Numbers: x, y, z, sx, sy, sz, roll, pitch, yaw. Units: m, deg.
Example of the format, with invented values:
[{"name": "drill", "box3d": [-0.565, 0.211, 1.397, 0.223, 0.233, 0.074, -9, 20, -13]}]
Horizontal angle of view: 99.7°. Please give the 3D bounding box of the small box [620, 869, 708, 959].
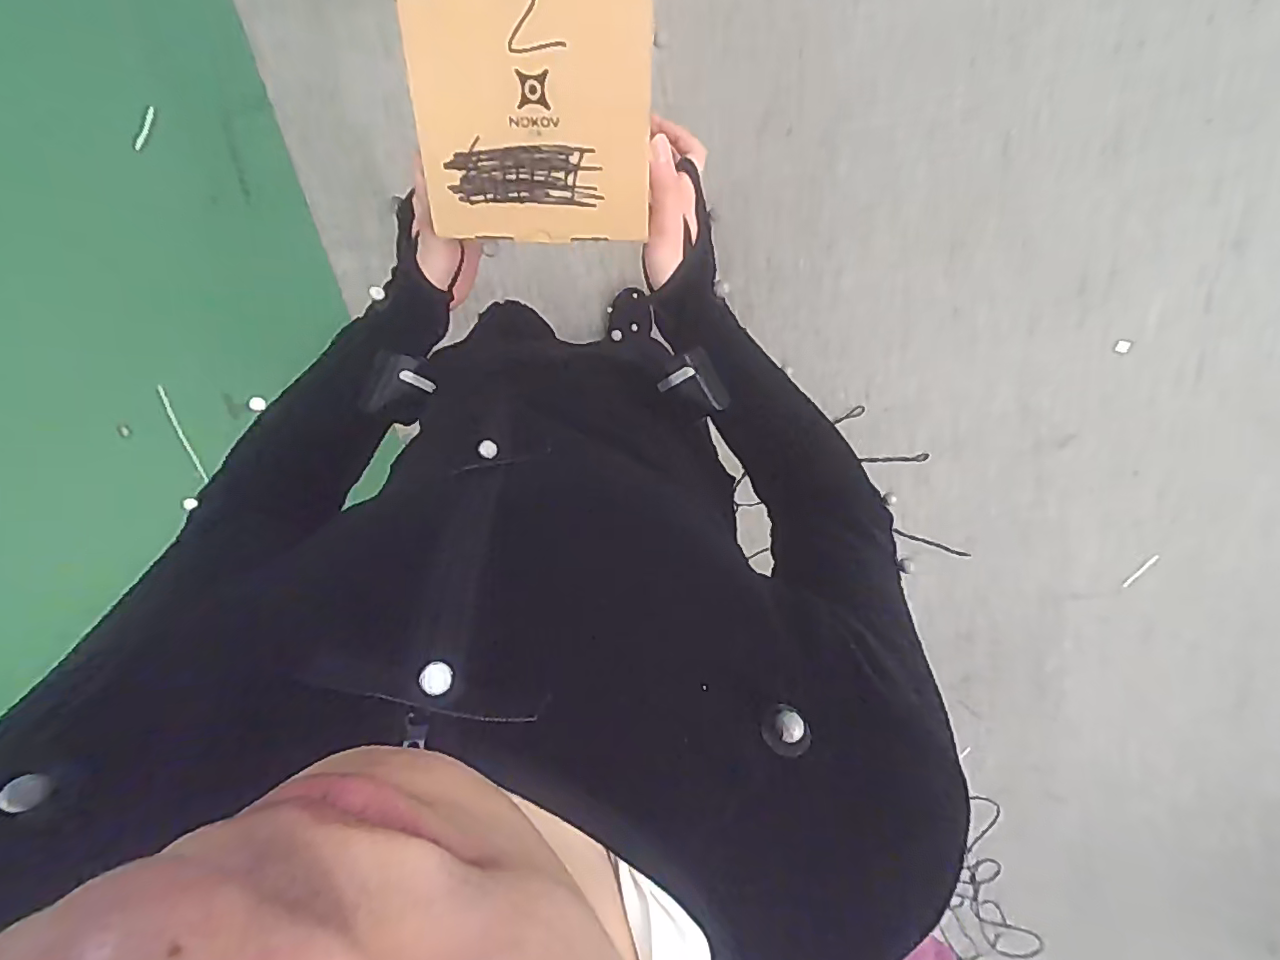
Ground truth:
[{"name": "small box", "box3d": [0.058, 0.993, 1.182, 0.168, 0.176, 0.179, -10, 111, 6]}]
